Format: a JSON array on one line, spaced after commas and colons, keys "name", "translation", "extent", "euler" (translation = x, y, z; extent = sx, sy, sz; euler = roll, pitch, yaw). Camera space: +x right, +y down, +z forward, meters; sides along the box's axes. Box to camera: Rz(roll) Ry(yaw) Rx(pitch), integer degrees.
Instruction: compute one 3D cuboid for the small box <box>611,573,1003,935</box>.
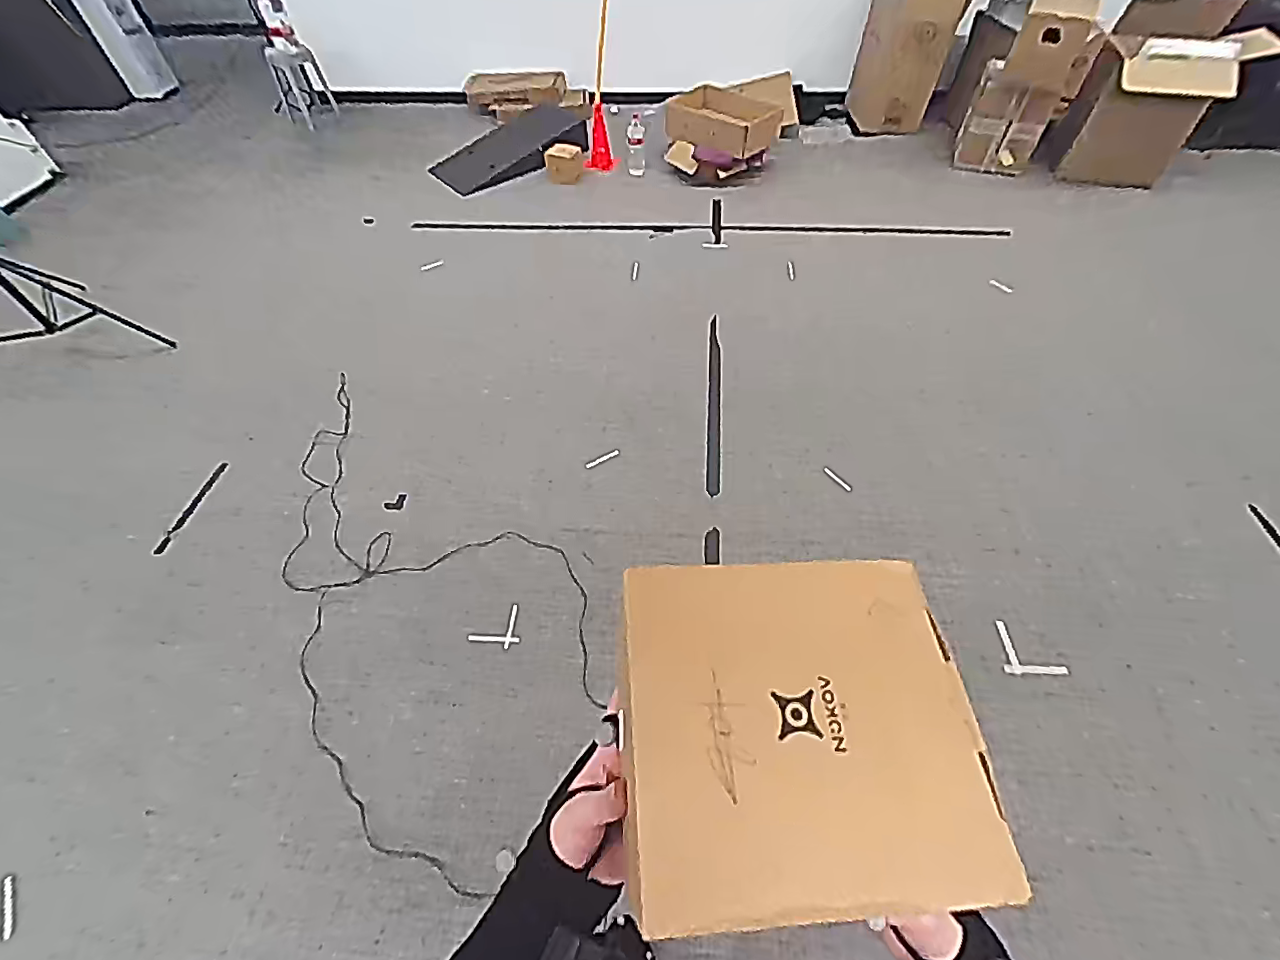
[{"name": "small box", "translation": [0.072, 0.170, 0.349], "extent": [0.179, 0.176, 0.168], "euler": [-1, 57, -5]}]
